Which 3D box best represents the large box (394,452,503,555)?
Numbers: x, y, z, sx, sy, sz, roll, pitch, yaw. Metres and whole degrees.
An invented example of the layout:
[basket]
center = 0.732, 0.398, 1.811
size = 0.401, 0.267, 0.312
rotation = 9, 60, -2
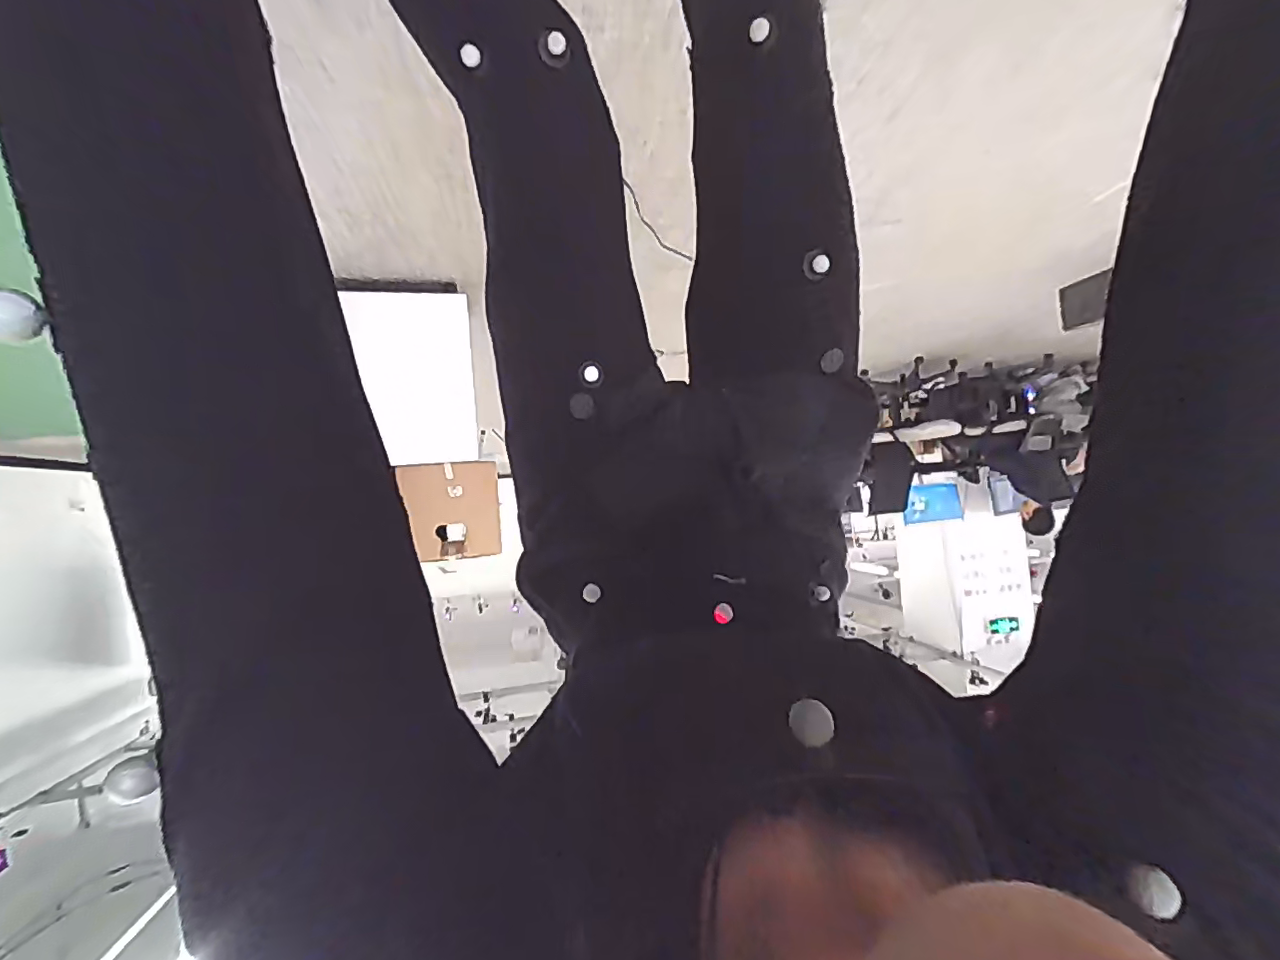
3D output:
[large box]
center = -0.655, 0.077, 1.904
size = 0.320, 0.320, 0.408
rotation = -3, 179, -15
